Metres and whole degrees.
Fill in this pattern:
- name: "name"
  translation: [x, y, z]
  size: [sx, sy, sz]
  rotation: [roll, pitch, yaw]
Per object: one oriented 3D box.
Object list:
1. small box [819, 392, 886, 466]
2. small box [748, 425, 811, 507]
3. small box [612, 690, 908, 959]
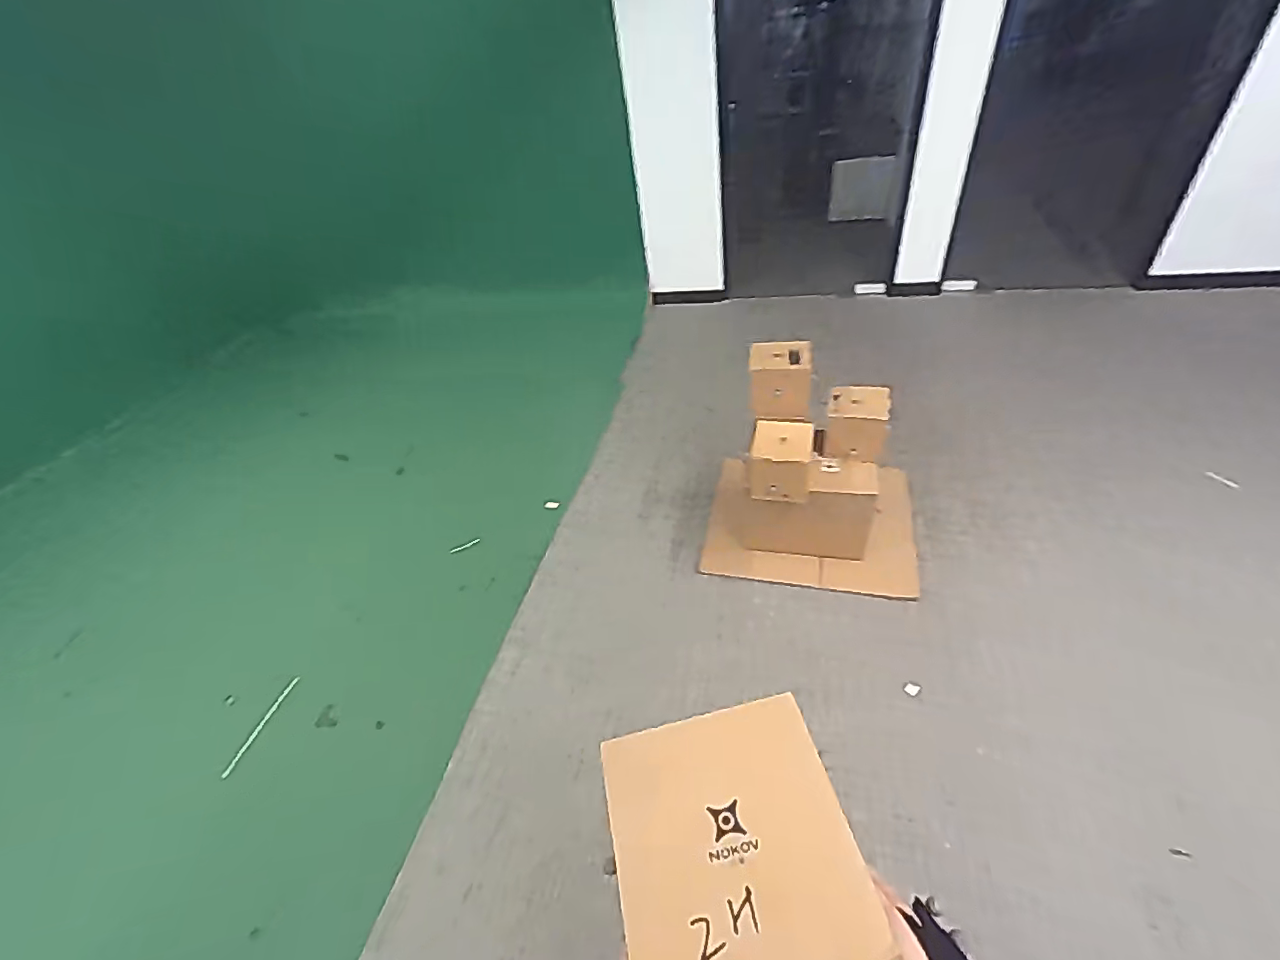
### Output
- name: "small box"
  translation: [0.672, -0.161, 1.714]
  size: [0.179, 0.176, 0.168]
  rotation: [6, 44, 20]
- name: "small box"
  translation: [0.421, -0.043, 1.636]
  size: [0.168, 0.176, 0.179]
  rotation: [5, 45, 16]
- name: "small box"
  translation: [0.079, 0.305, 0.436]
  size: [0.168, 0.176, 0.179]
  rotation: [-13, 42, -1]
